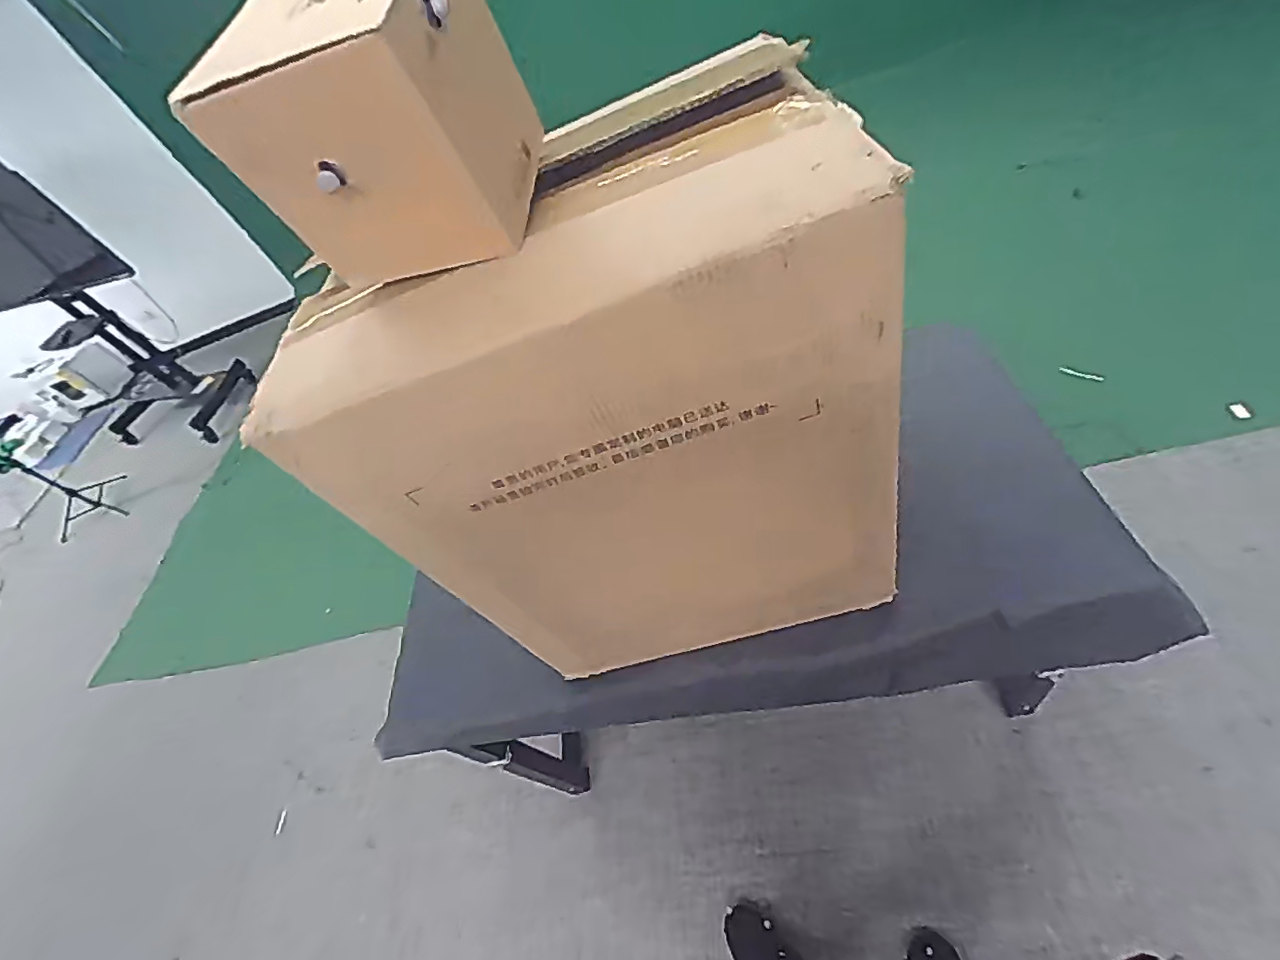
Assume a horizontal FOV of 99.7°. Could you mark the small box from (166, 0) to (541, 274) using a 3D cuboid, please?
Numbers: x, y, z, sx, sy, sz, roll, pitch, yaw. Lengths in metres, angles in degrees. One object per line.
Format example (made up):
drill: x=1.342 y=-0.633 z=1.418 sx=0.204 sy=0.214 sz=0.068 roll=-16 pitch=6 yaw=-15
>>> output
small box: x=-0.204 y=-0.293 z=0.435 sx=0.179 sy=0.176 sz=0.168 roll=-5 pitch=64 yaw=18
